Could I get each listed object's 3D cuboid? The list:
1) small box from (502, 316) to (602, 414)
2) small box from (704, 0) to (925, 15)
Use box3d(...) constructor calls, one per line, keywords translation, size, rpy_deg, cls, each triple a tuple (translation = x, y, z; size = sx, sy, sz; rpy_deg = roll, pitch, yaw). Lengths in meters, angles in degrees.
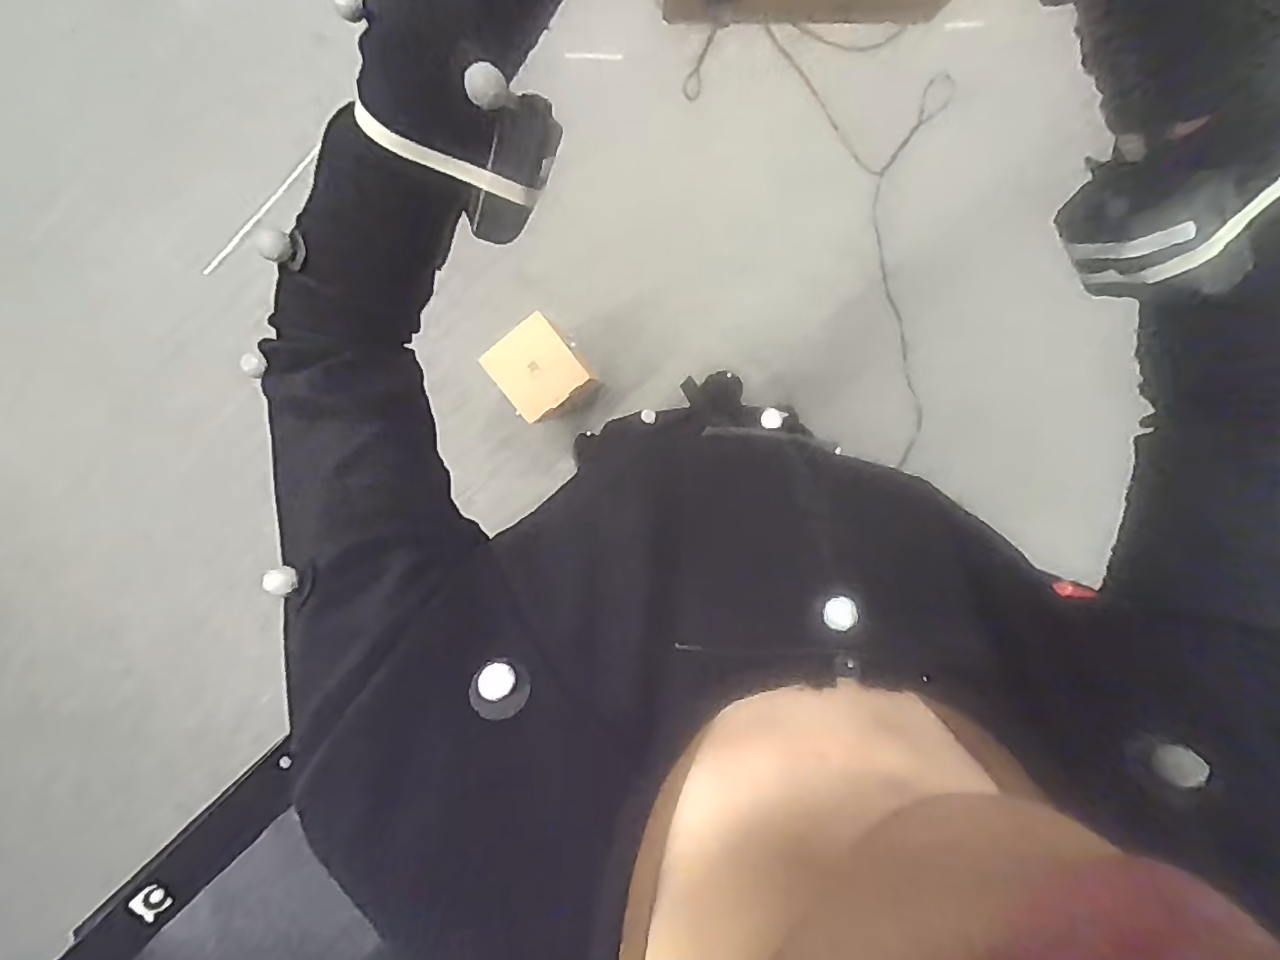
box3d(translation=(-0.213, -0.284, 1.360), size=(0.168, 0.176, 0.179), rpy_deg=(-36, 97, 7), cls="small box")
box3d(translation=(0.095, -0.344, 0.232), size=(0.168, 0.176, 0.179), rpy_deg=(0, 105, -1), cls="small box")
